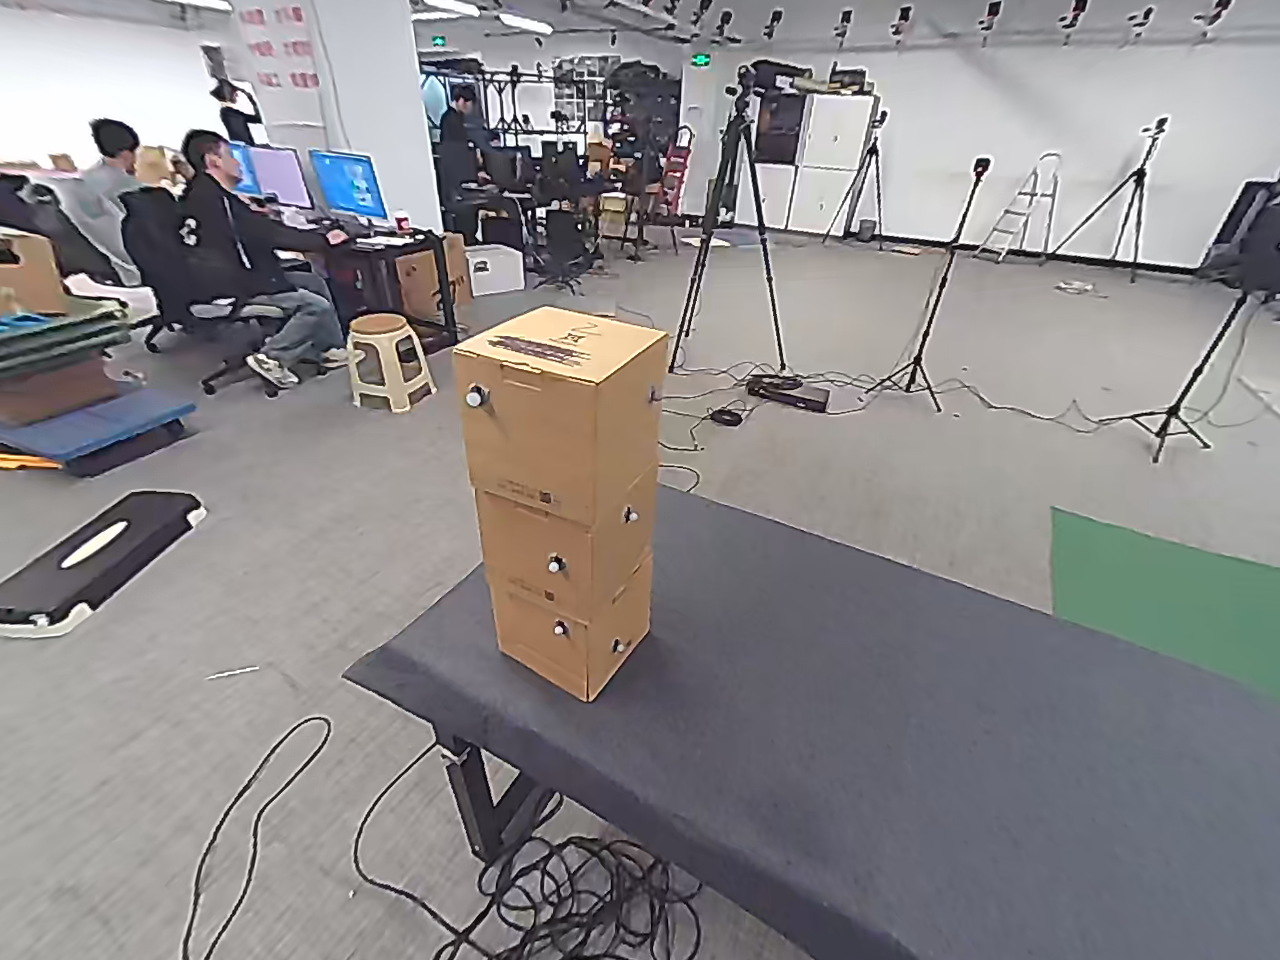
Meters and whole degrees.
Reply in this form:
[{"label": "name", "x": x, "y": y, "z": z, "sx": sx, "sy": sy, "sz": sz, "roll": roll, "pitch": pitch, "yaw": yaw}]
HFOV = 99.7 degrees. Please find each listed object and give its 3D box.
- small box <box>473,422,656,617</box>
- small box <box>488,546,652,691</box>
[{"label": "small box", "x": -0.092, "y": 0.049, "z": 0.715, "sx": 0.168, "sy": 0.176, "sz": 0.179, "roll": 19, "pitch": 35, "yaw": 19}, {"label": "small box", "x": -0.101, "y": 0.179, "z": 0.810, "sx": 0.179, "sy": 0.176, "sz": 0.168, "roll": 21, "pitch": 37, "yaw": 25}]
